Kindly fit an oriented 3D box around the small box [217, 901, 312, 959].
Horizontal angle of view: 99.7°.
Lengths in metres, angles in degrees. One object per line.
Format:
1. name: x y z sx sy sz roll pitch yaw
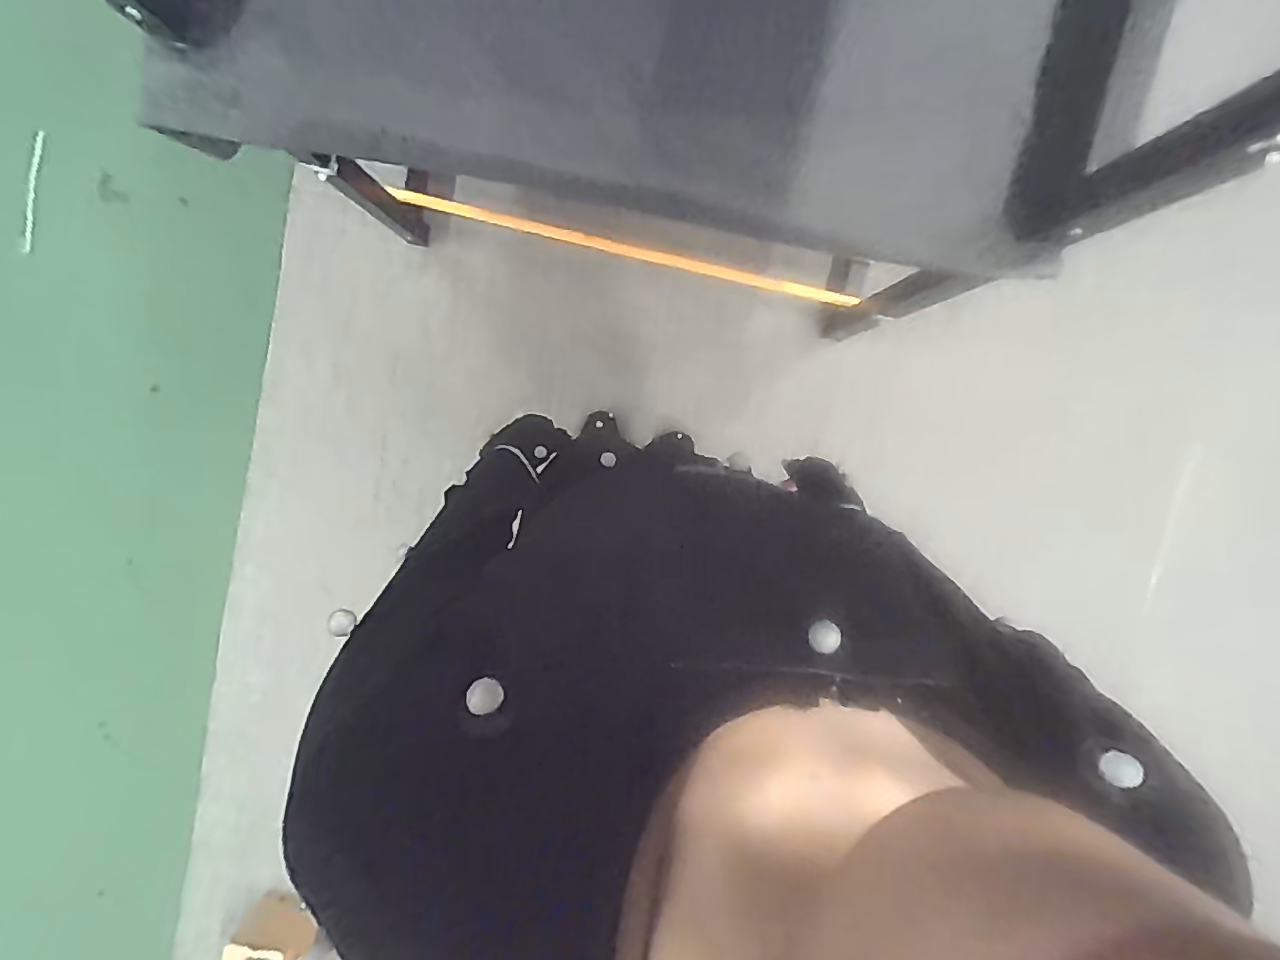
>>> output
1. small box: -1.065 1.350 1.532 0.168 0.176 0.179 12 96 0
